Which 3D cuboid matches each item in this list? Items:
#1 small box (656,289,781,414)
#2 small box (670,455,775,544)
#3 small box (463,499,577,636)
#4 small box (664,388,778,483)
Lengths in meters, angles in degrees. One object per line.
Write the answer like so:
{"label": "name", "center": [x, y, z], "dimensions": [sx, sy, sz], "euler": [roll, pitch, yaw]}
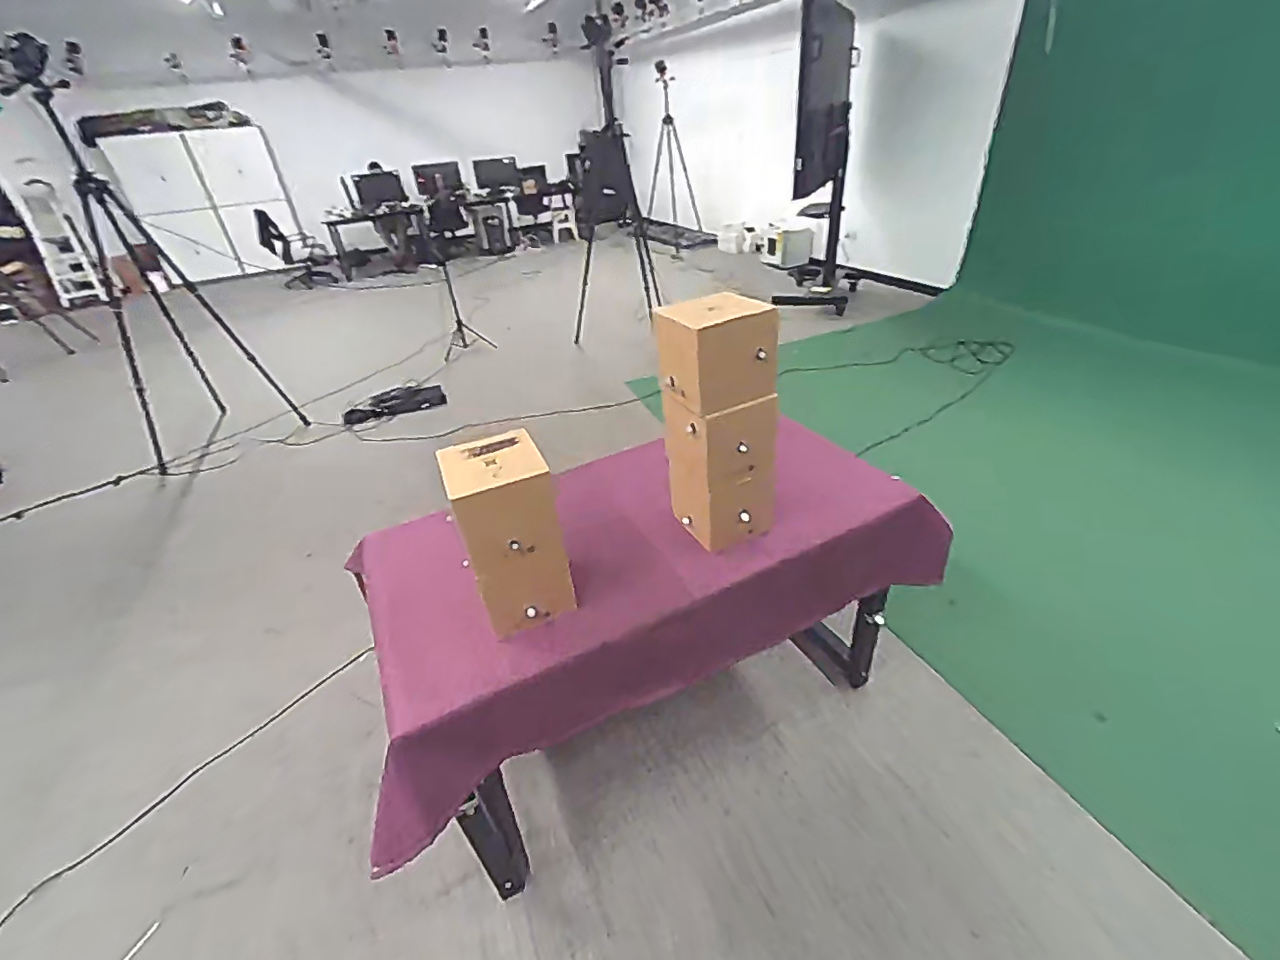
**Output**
{"label": "small box", "center": [0.145, -0.247, 1.030], "dimensions": [0.179, 0.176, 0.168], "euler": [-20, 35, -19]}
{"label": "small box", "center": [0.183, 0.024, 1.212], "dimensions": [0.168, 0.176, 0.179], "euler": [-19, 37, -19]}
{"label": "small box", "center": [-0.233, 0.170, 1.060], "dimensions": [0.168, 0.176, 0.179], "euler": [-18, 37, -18]}
{"label": "small box", "center": [0.165, -0.111, 1.119], "dimensions": [0.168, 0.176, 0.179], "euler": [-19, 36, -19]}
